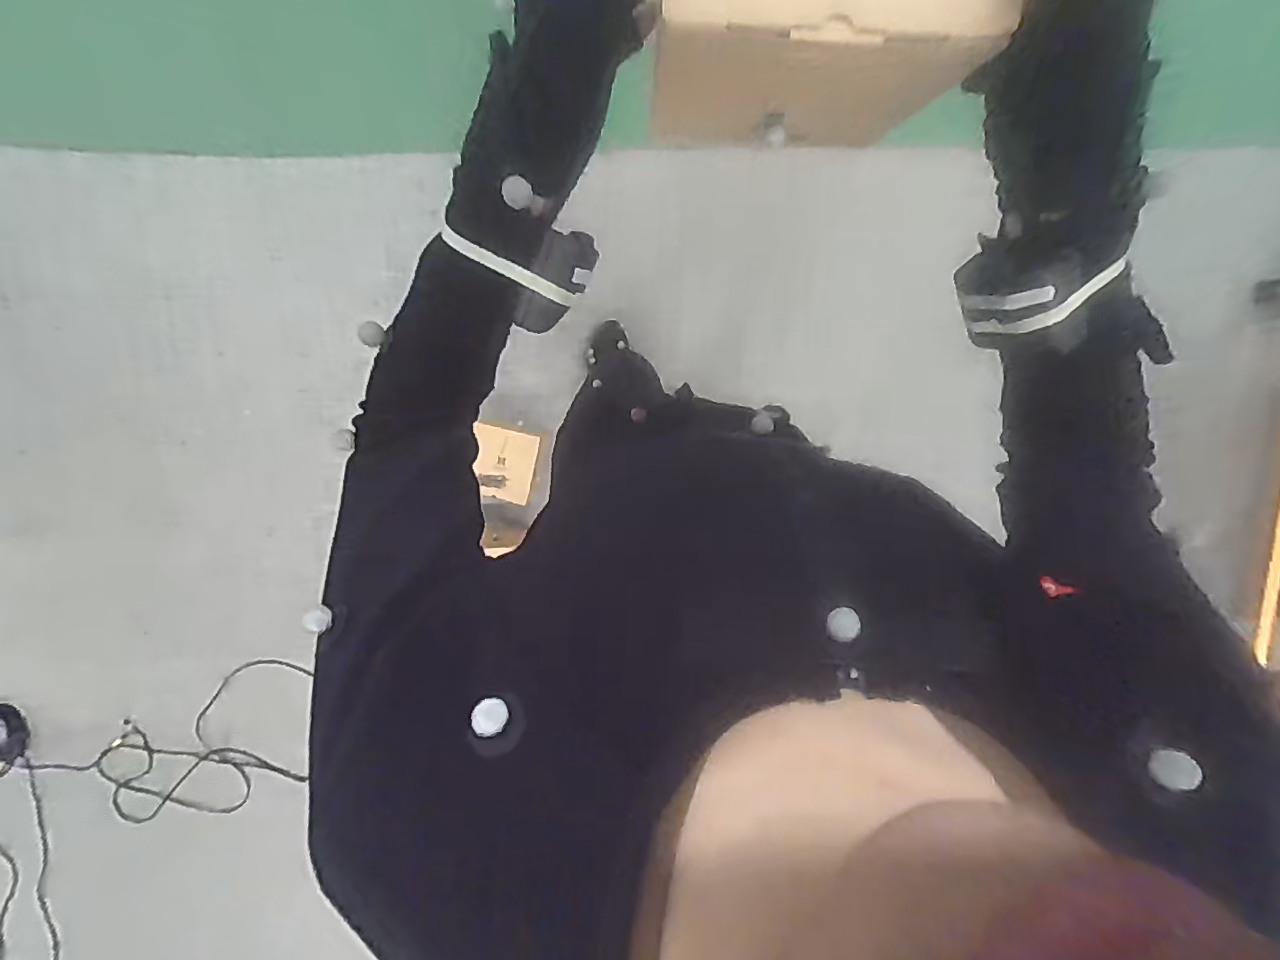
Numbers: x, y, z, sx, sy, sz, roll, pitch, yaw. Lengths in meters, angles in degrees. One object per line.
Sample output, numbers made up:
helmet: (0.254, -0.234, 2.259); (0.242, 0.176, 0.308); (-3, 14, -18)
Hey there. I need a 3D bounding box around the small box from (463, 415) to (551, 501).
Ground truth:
small box: (-0.333, -0.062, 1.380); (0.168, 0.176, 0.179); (14, 98, -3)
